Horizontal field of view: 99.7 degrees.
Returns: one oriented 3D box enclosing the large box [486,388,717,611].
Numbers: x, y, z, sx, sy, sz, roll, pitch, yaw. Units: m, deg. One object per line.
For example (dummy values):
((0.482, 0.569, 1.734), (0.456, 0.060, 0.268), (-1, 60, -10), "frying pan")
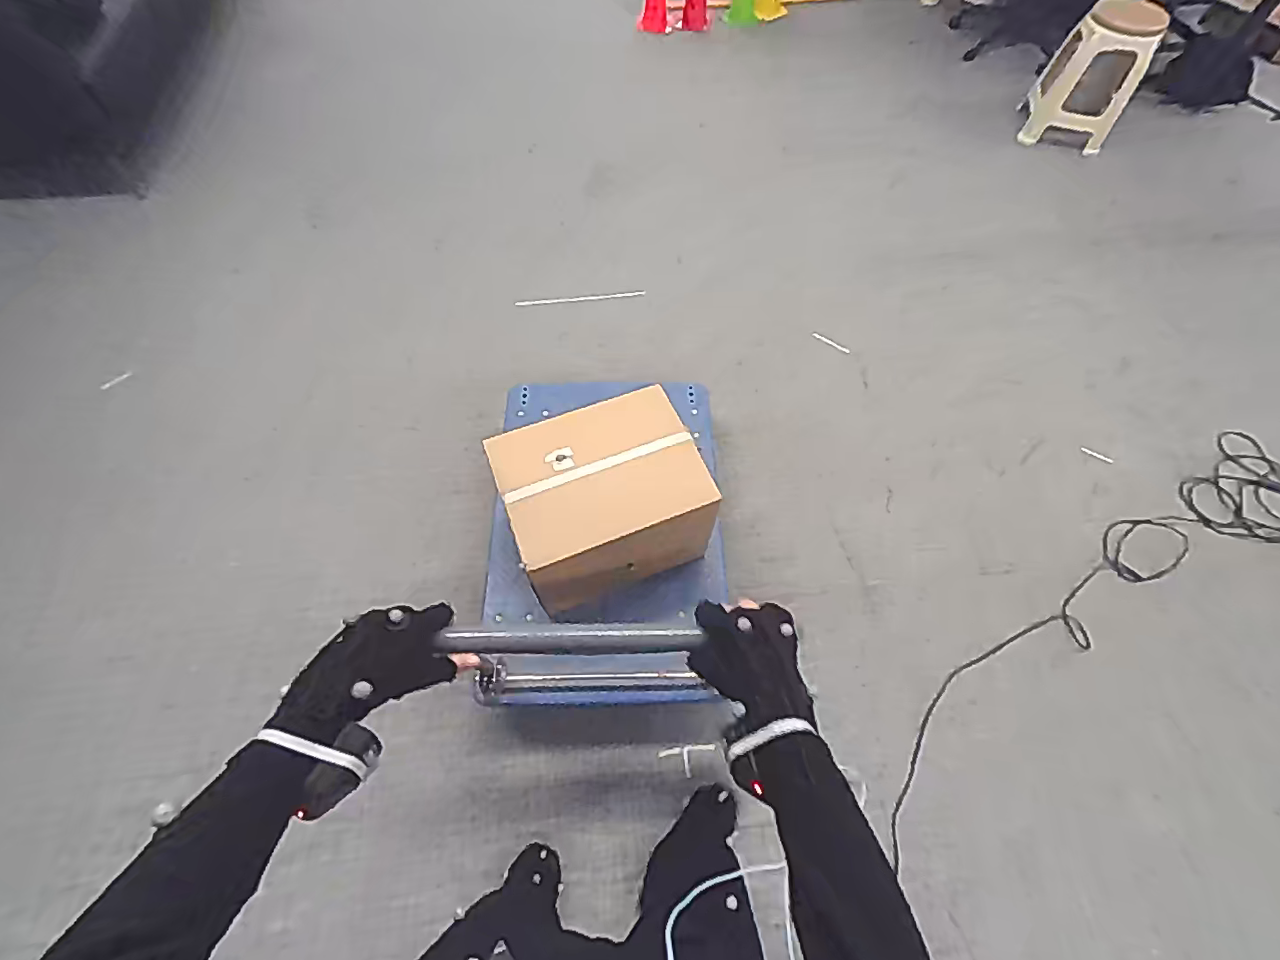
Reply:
((-0.084, 0.054, 1.240), (0.408, 0.320, 0.320), (-21, 63, -11), "large box")
